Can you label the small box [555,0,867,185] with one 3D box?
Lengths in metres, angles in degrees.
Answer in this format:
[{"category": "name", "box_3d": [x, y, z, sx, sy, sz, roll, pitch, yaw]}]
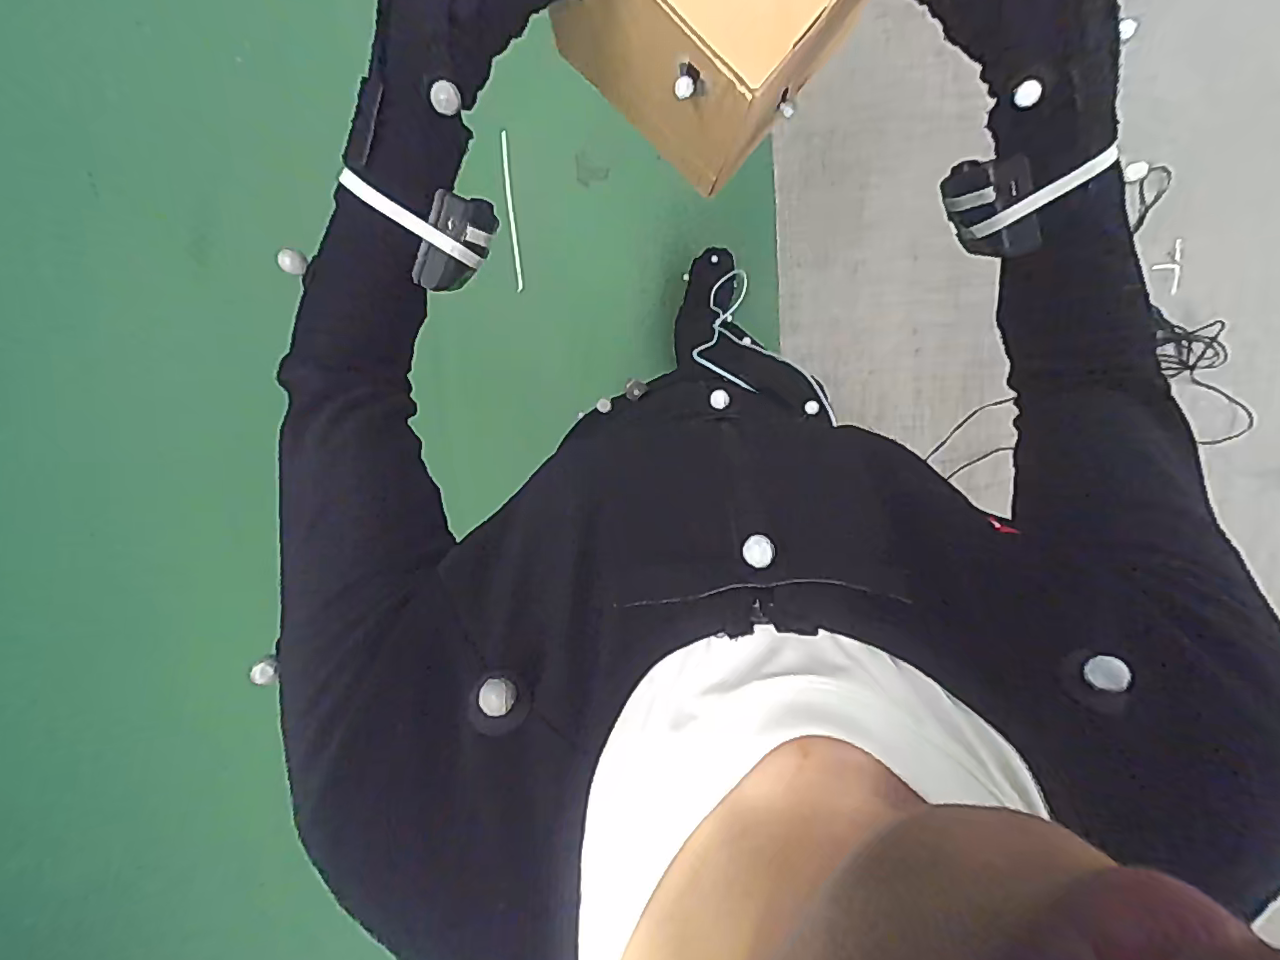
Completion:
[{"category": "small box", "box_3d": [0.050, -0.347, 0.371, 0.179, 0.176, 0.168, 42, 95, -9]}]
